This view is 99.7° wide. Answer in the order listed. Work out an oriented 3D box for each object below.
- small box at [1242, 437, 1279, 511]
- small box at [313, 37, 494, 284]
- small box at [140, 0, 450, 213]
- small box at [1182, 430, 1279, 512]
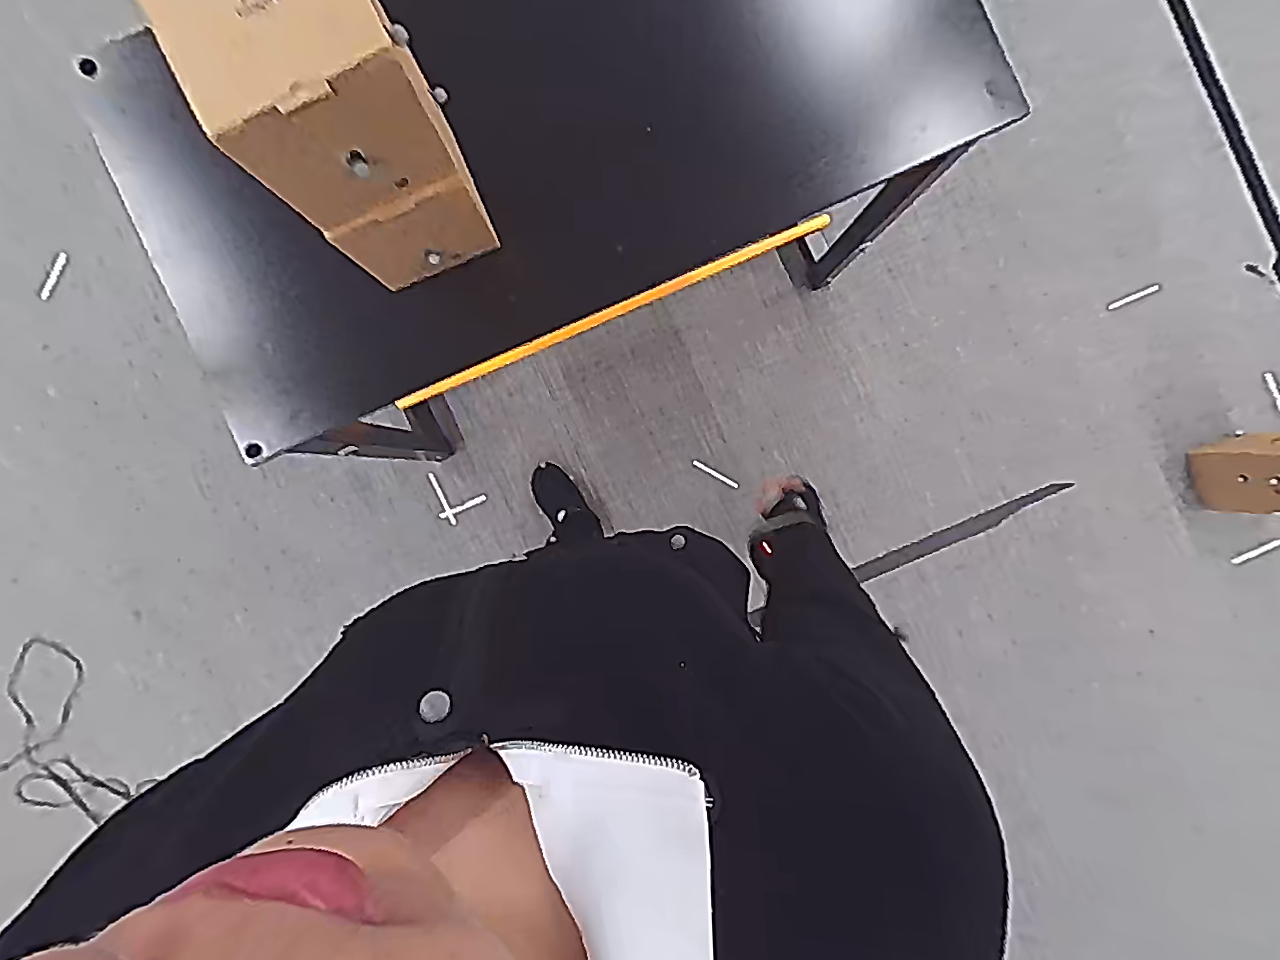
[{"bbox_3d":[1.630,-0.028,1.290,0.179,0.176,0.168,-26,90,1],"label":"small box"},{"bbox_3d":[-0.304,-0.376,0.670,0.168,0.176,0.179,-23,91,-1],"label":"small box"},{"bbox_3d":[-0.306,-0.382,0.506,0.168,0.176,0.179,-26,92,-1],"label":"small box"},{"bbox_3d":[1.628,-0.026,1.452,0.168,0.176,0.179,-21,93,-1],"label":"small box"}]
